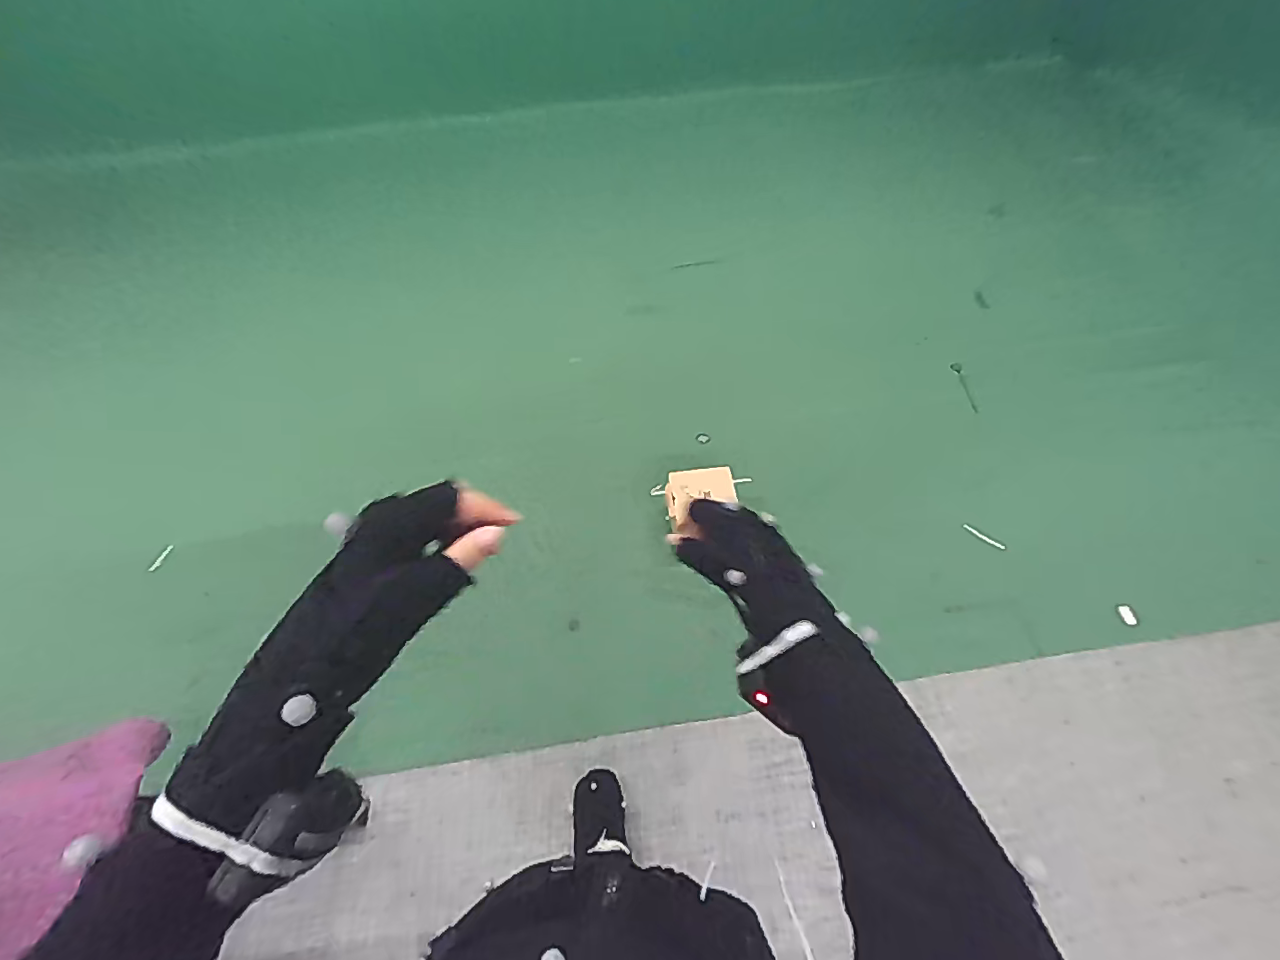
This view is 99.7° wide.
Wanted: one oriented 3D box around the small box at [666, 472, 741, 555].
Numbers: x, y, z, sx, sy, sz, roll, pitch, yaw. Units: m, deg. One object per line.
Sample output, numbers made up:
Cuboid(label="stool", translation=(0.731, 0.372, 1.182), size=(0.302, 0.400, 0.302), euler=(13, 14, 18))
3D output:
Cuboid(label="small box", translation=(0.173, 0.098, 1.526), size=(0.179, 0.176, 0.168), euler=(-6, 58, -3))
